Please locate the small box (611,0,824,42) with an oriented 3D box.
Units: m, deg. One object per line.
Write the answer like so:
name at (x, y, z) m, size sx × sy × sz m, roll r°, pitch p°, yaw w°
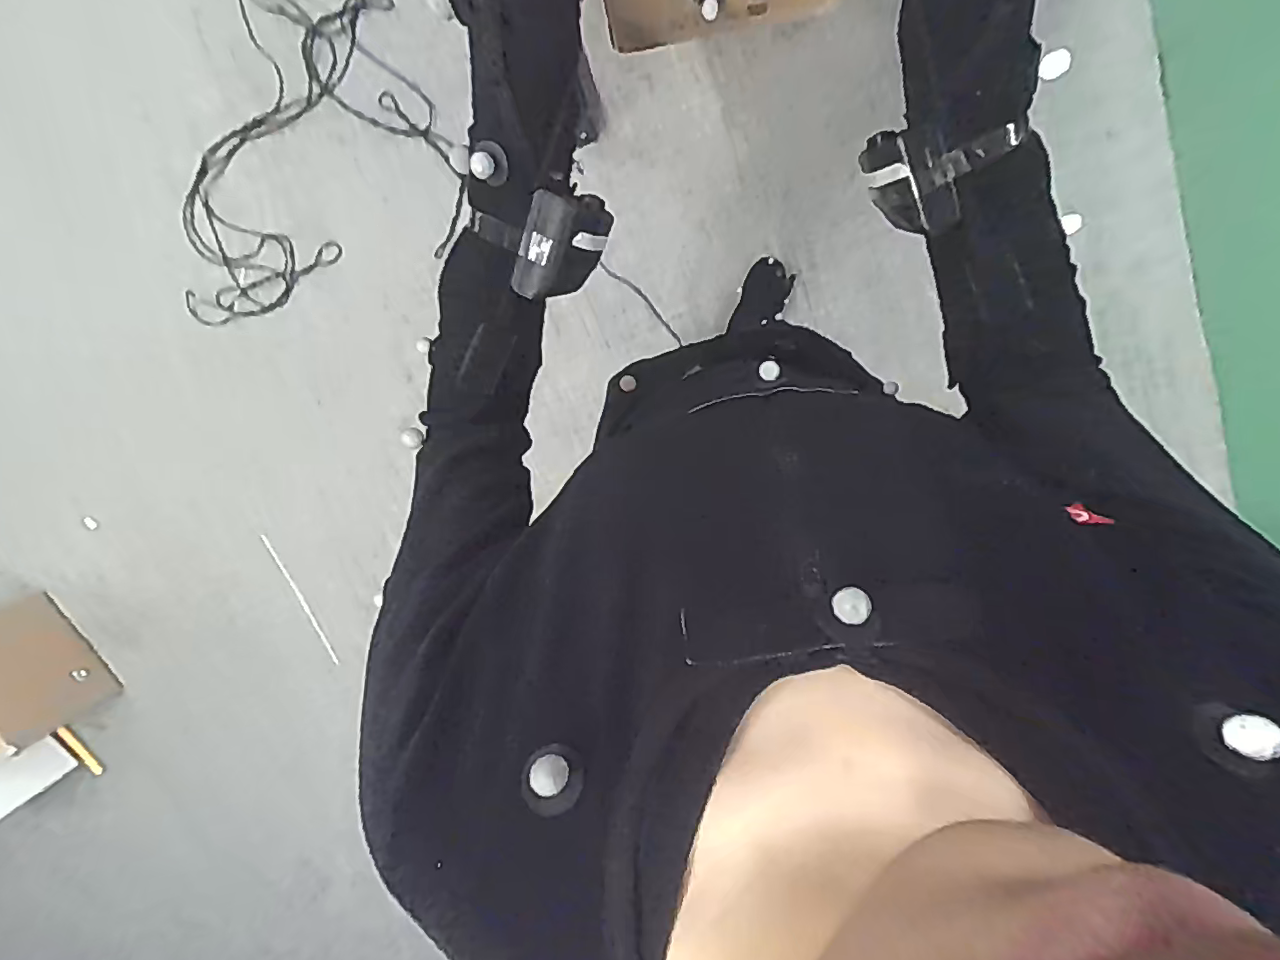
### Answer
small box at (0.047, -0.399, 0.304) m, size 0.168 × 0.176 × 0.179 m, roll -7°, pitch 107°, yaw 6°
